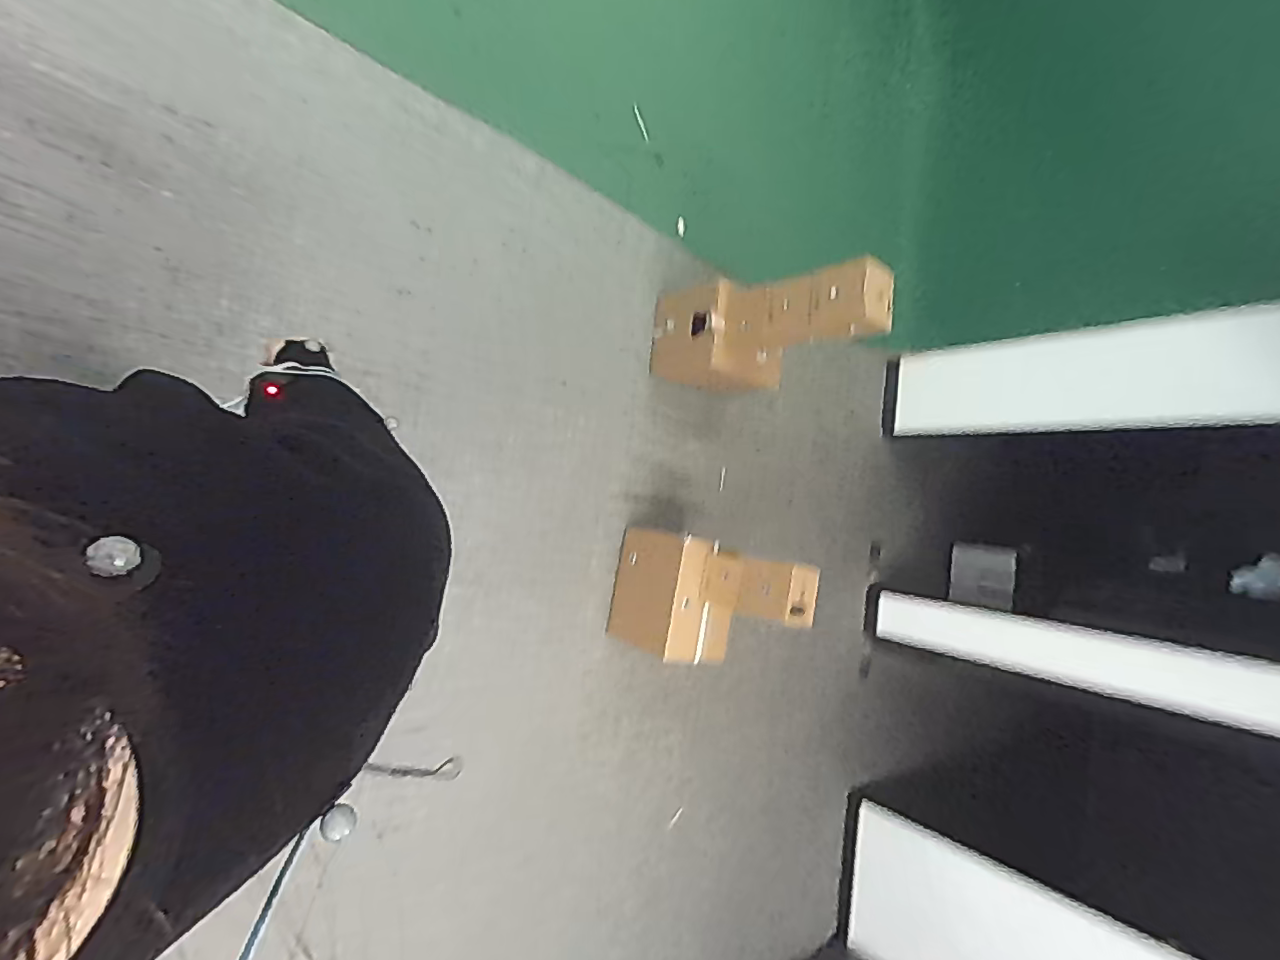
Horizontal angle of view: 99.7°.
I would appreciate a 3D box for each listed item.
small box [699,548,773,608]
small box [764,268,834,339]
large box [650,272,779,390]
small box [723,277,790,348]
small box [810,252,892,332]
[{"bbox_3d":[0.321,0.327,1.818,0.179,0.176,0.168,17,81,-43],"label":"small box"},{"bbox_3d":[0.513,-0.554,1.724,0.179,0.176,0.168,1,92,-43],"label":"small box"},{"bbox_3d":[0.288,-0.546,2.069,0.408,0.320,0.320,8,87,-42],"label":"large box"},{"bbox_3d":[0.399,-0.561,1.841,0.168,0.176,0.179,6,87,-42],"label":"small box"},{"bbox_3d":[0.621,-0.546,1.600,0.179,0.176,0.168,3,90,-41],"label":"small box"}]
